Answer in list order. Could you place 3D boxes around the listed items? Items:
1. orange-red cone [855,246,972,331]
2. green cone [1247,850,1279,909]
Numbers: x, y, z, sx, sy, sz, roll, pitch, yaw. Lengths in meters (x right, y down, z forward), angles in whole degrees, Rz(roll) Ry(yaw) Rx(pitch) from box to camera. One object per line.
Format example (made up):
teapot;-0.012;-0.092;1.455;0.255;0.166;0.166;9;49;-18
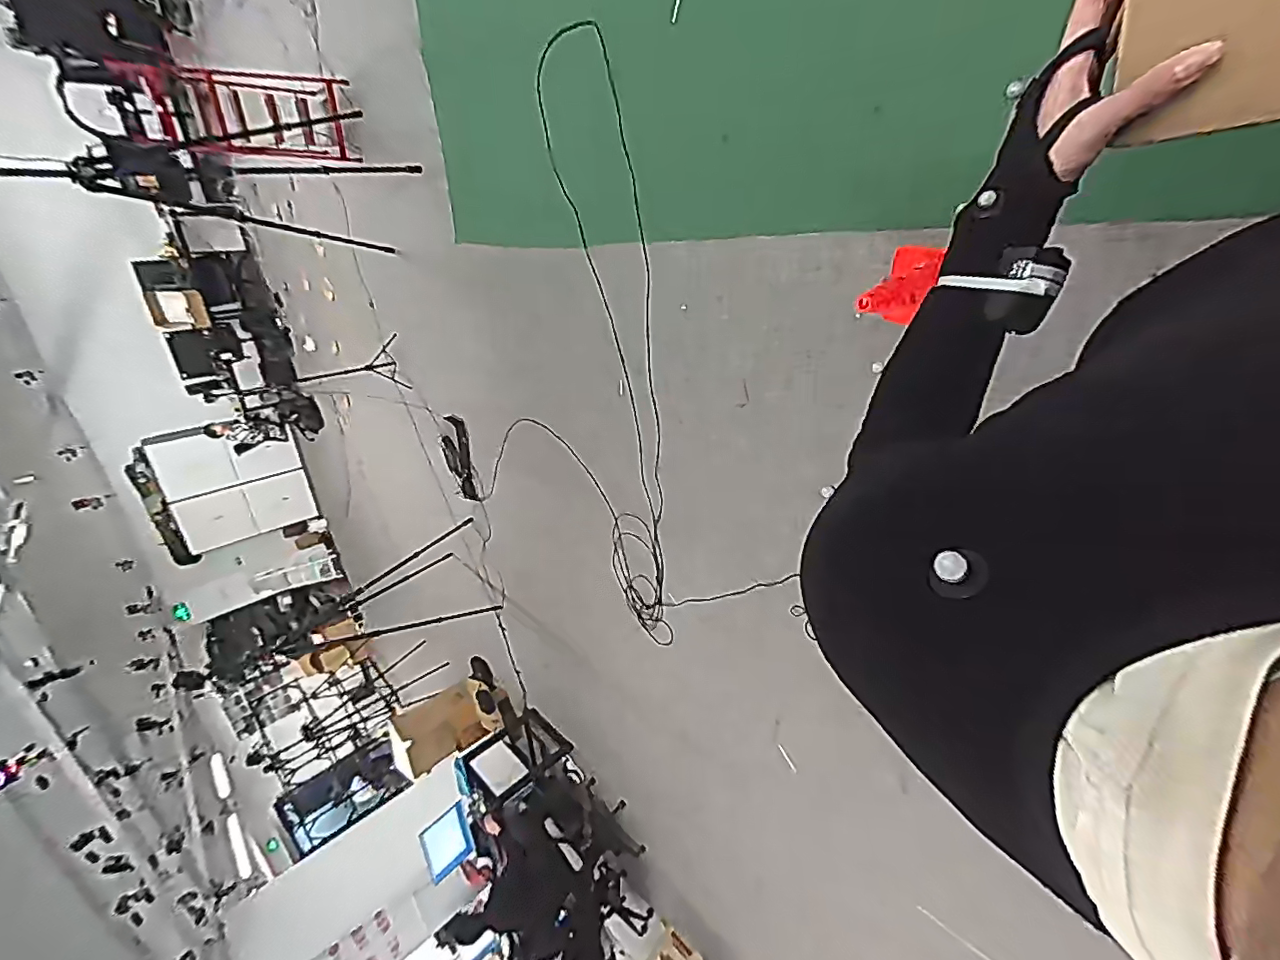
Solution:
orange-red cone;0.640;-0.465;1.352;0.199;0.360;0.198;30;129;39
green cone;1.476;1.029;1.152;0.200;0.368;0.202;27;126;38
